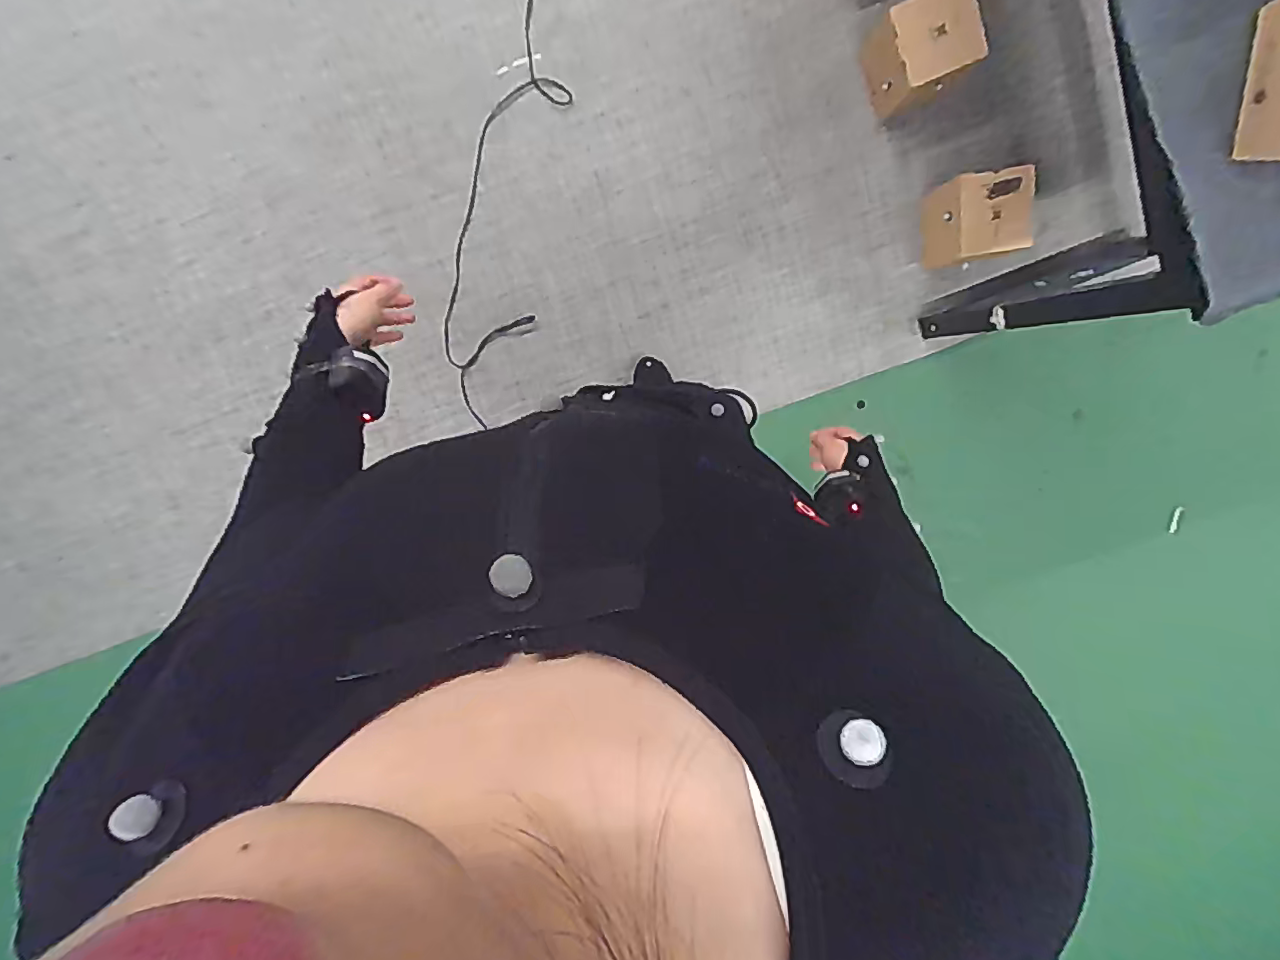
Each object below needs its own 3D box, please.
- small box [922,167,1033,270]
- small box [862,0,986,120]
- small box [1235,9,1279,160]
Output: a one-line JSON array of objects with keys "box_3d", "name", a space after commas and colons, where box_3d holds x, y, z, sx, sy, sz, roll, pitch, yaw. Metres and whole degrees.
[{"box_3d": [0.791, -0.613, 1.284, 0.168, 0.176, 0.179, -7, 103, 1], "name": "small box"}, {"box_3d": [0.624, -0.956, 1.215, 0.179, 0.176, 0.168, -23, 101, 3], "name": "small box"}, {"box_3d": [0.807, -0.456, 0.569, 0.179, 0.176, 0.168, 0, 101, -3], "name": "small box"}]
